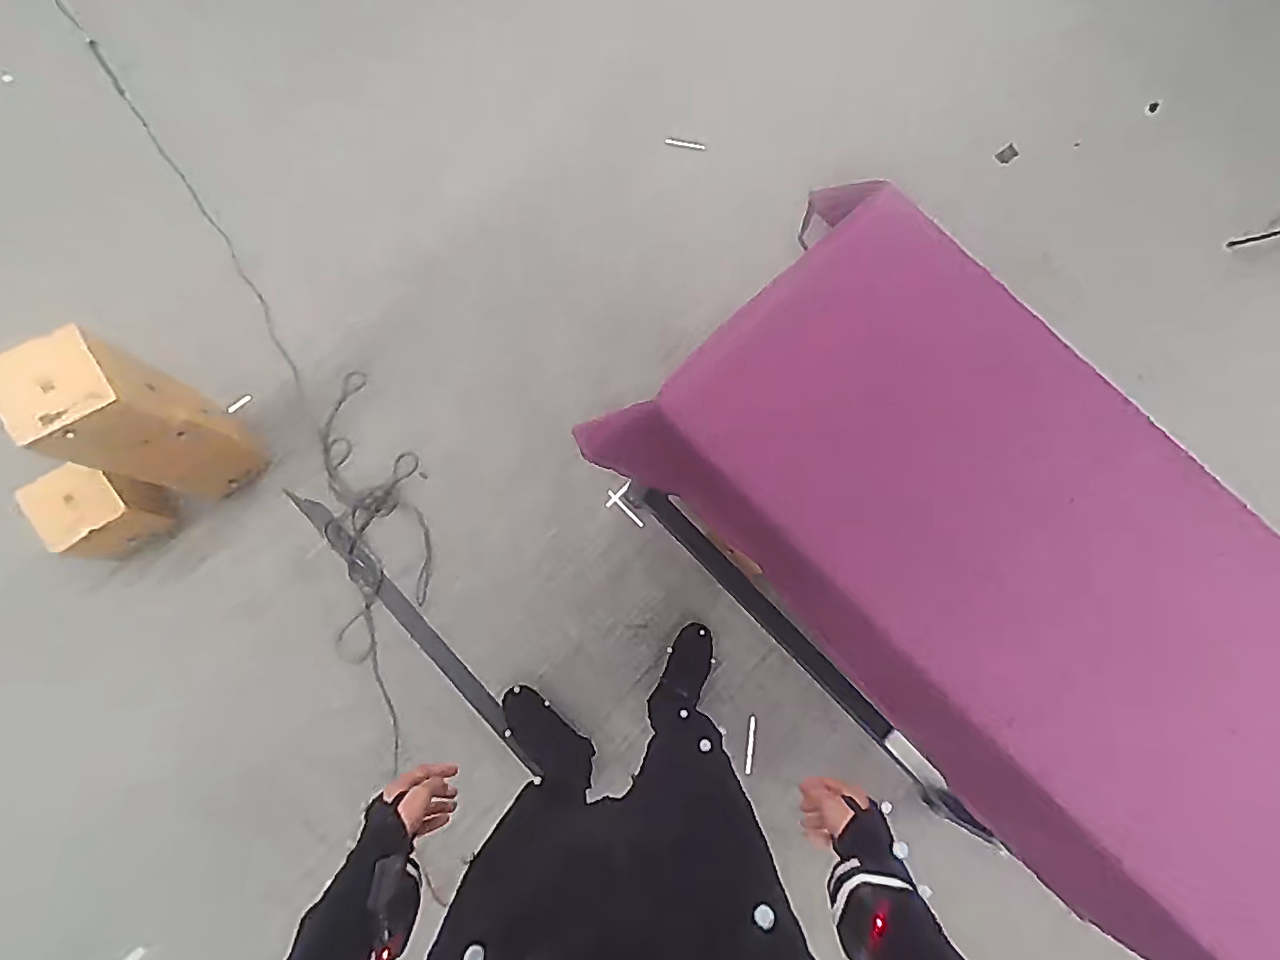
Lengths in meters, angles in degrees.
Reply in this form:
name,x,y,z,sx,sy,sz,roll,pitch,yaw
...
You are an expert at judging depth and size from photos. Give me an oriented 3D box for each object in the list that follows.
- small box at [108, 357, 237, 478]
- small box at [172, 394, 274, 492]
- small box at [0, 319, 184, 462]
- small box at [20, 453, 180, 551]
name,x,y,z,sx,sy,sz,roll,pitch,yaw
small box,-1.042,-0.127,1.173,0.179,0.176,0.168,-40,85,-13
small box,-1.062,-0.091,1.330,0.168,0.176,0.179,-42,86,-13
small box,-1.023,-0.159,1.013,0.168,0.176,0.179,-33,82,-12
small box,-1.255,0.051,1.271,0.168,0.176,0.179,-37,84,-13
